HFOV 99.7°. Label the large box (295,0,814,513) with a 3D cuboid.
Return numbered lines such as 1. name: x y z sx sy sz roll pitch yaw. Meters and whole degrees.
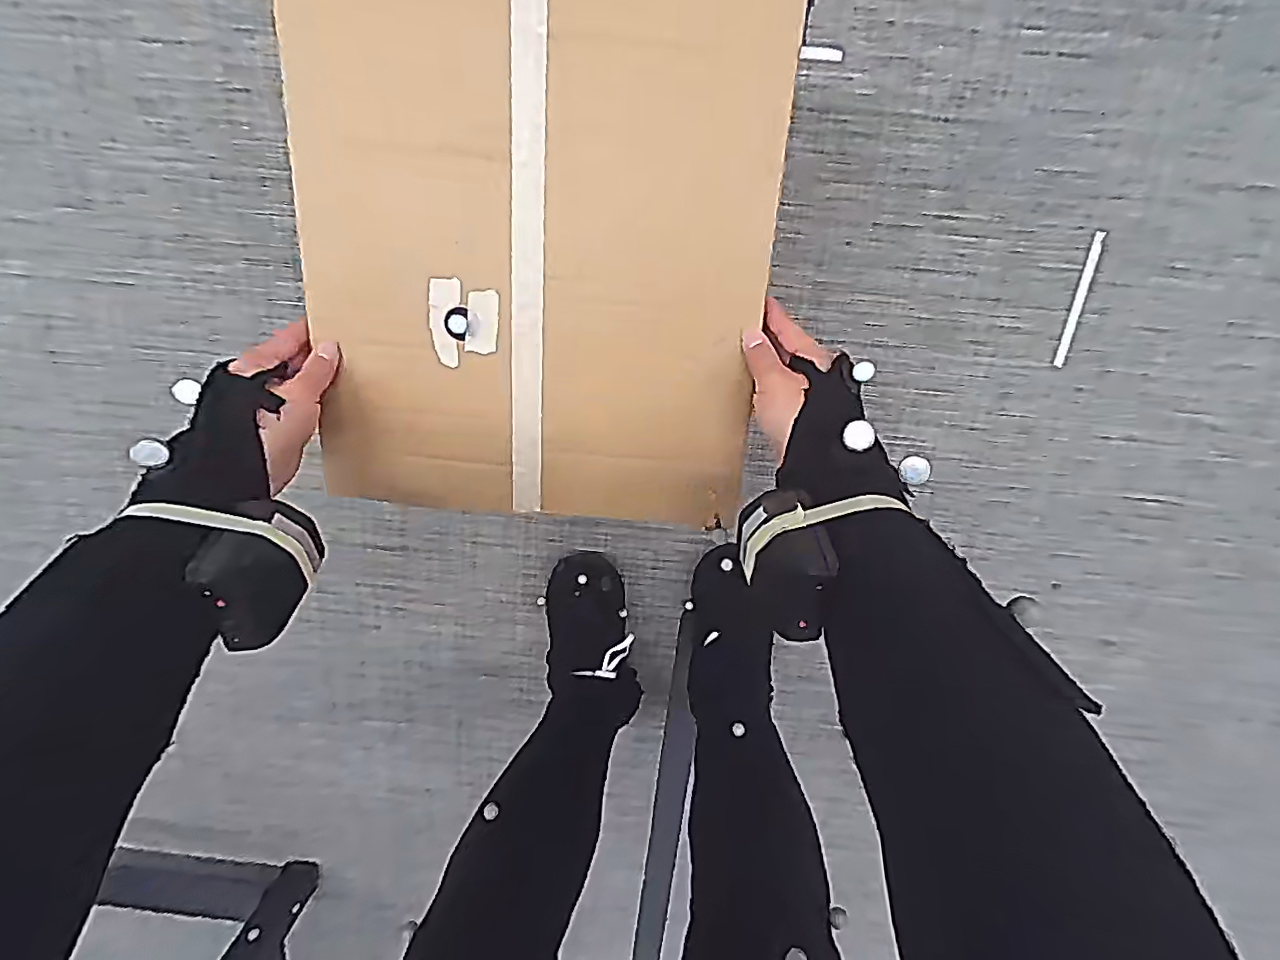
1. large box: -0.054 -0.218 0.495 0.320 0.320 0.408 4 108 2
